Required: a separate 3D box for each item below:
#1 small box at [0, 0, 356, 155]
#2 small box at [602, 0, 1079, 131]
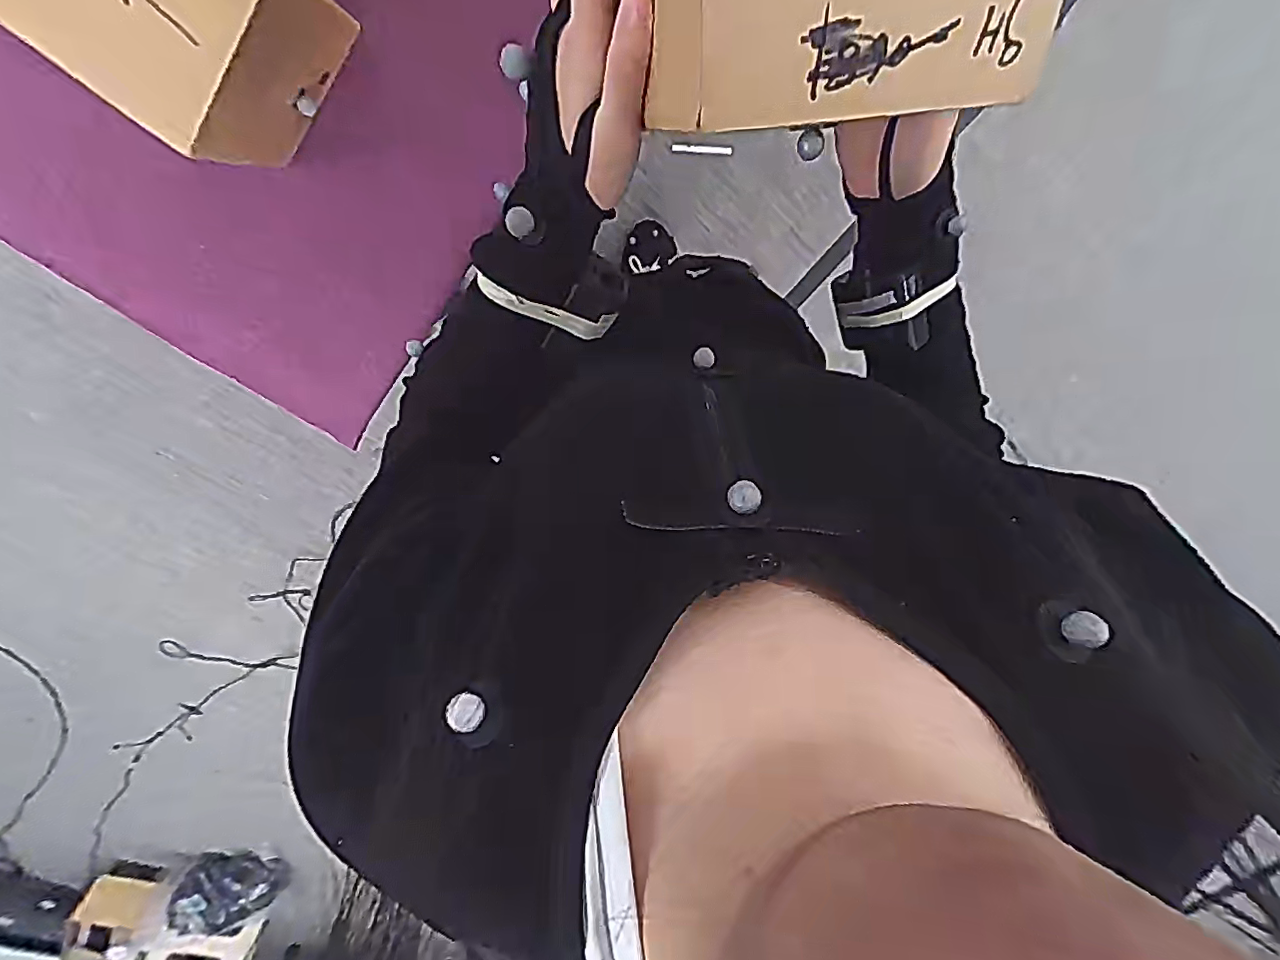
[{"bbox_3d":[-0.385,-0.404,0.455,0.179,0.176,0.168,36,109,-21],"label":"small box"},{"bbox_3d":[0.075,-0.266,0.242,0.168,0.176,0.179,-12,125,-11],"label":"small box"}]
